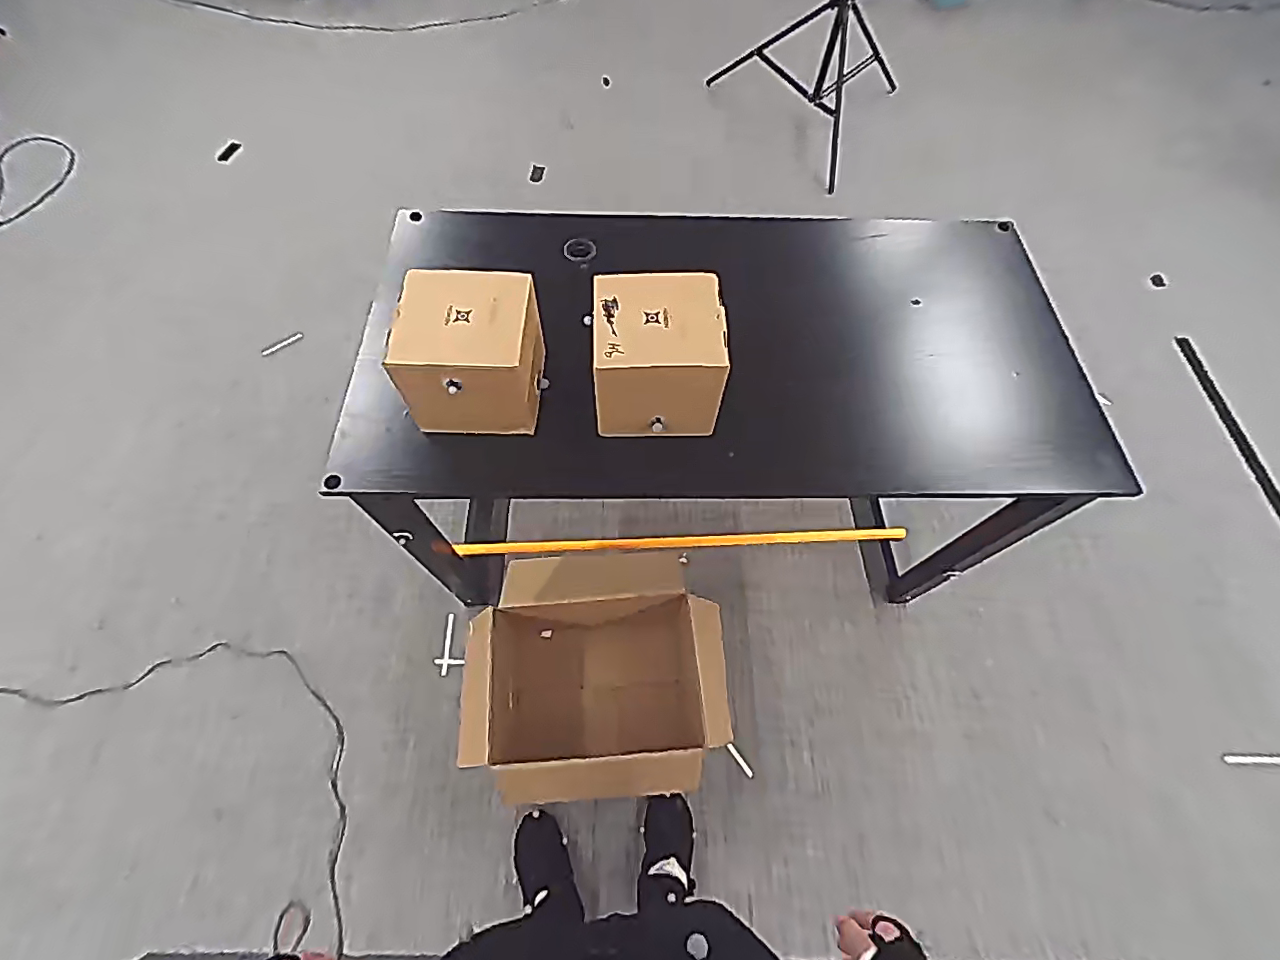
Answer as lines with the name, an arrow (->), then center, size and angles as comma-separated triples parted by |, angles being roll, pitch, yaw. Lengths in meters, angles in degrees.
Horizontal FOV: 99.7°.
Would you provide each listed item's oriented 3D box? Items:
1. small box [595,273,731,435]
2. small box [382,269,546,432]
small box -> 0.024, -0.177, 0.789 | 0.179, 0.176, 0.168 | -1, 63, -3
small box -> -0.239, -0.180, 0.783 | 0.179, 0.176, 0.168 | 1, 64, -2
